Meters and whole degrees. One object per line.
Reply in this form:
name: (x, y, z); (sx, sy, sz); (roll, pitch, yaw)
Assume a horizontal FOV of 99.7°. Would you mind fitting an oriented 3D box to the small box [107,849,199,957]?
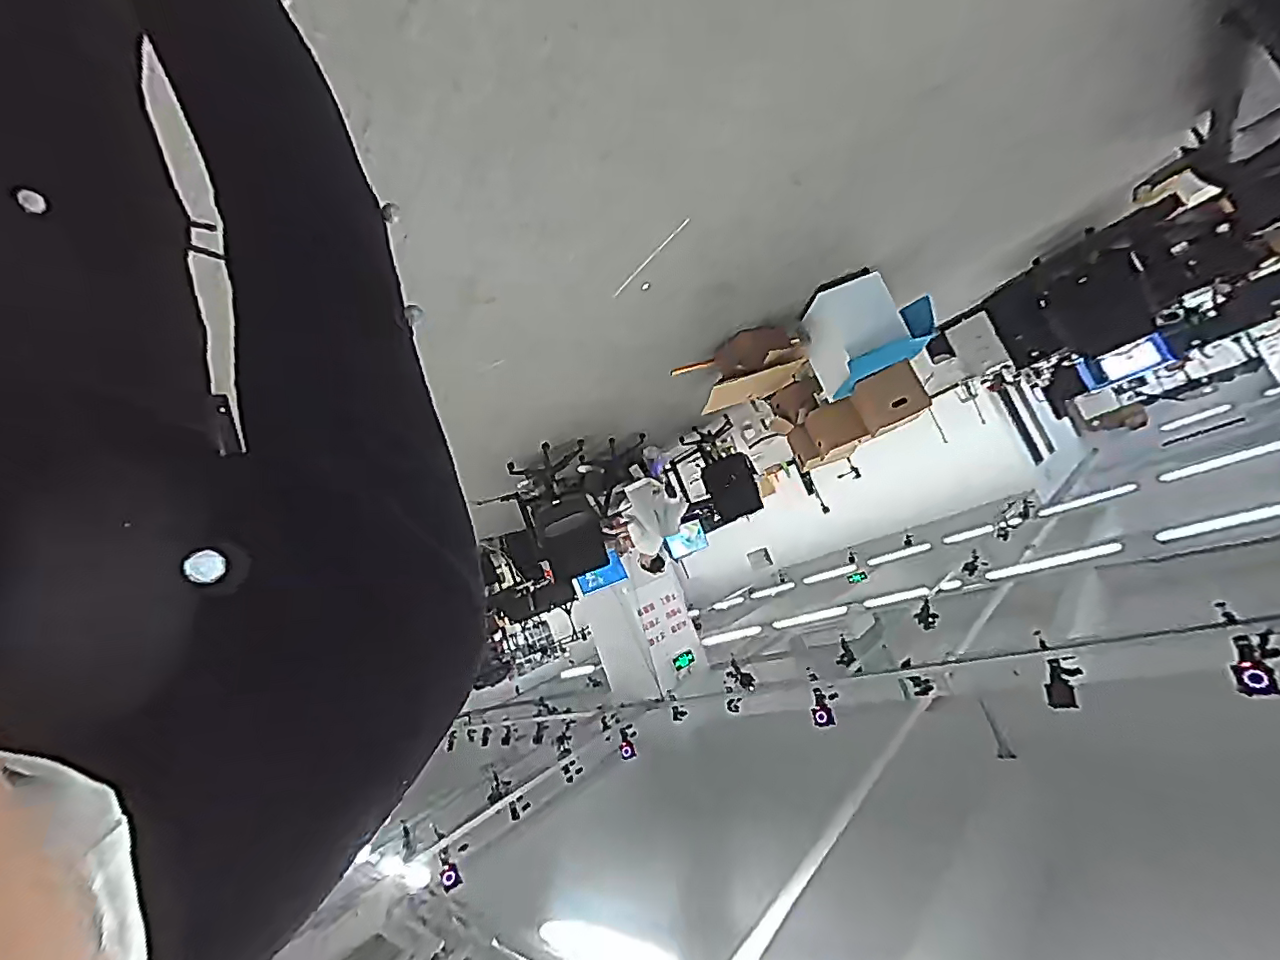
small box: (-1.410, 1.211, 1.565); (0.179, 0.176, 0.168); (-13, 168, -44)
